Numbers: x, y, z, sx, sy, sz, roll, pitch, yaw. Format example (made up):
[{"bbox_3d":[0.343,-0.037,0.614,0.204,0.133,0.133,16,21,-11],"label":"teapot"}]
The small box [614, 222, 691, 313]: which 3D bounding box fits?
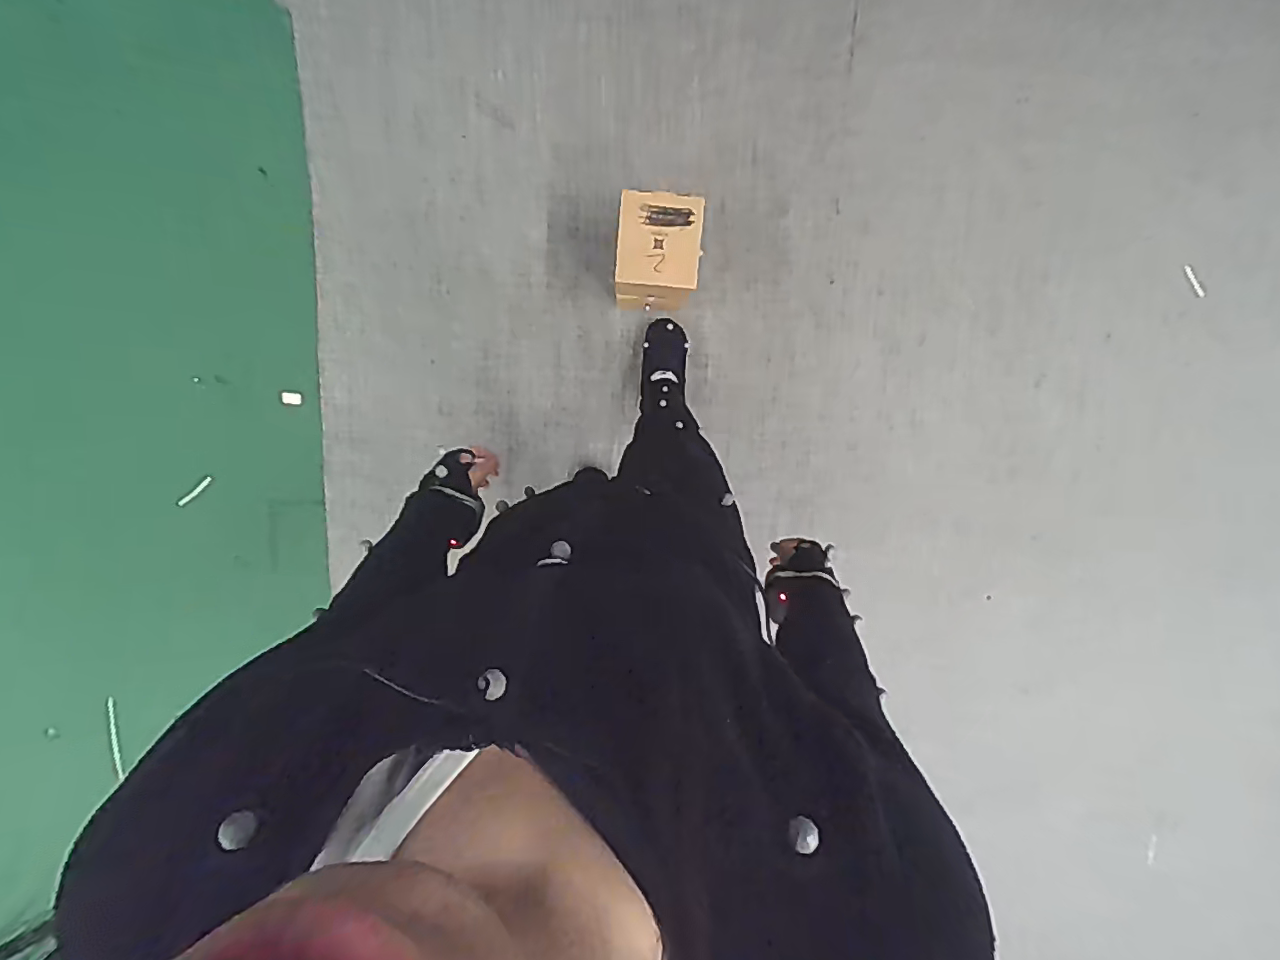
[{"bbox_3d":[0.027,-0.504,1.307,0.168,0.176,0.179,3,101,-2],"label":"small box"}]
